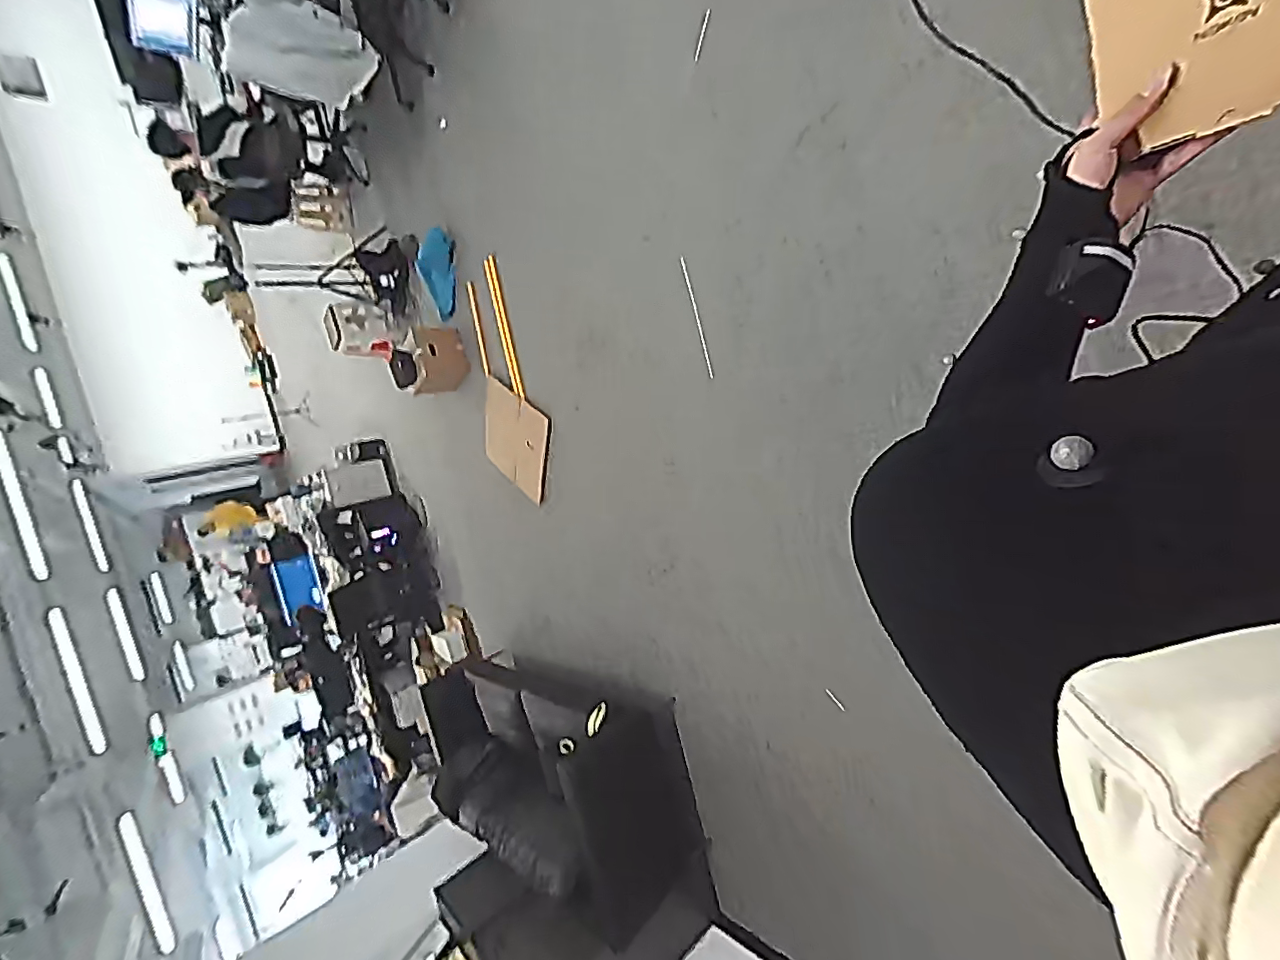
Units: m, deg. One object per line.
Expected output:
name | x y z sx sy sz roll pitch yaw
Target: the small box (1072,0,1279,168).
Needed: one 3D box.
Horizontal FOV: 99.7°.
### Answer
small box | 0.502 -0.405 0.461 0.168 0.176 0.179 2 121 56
